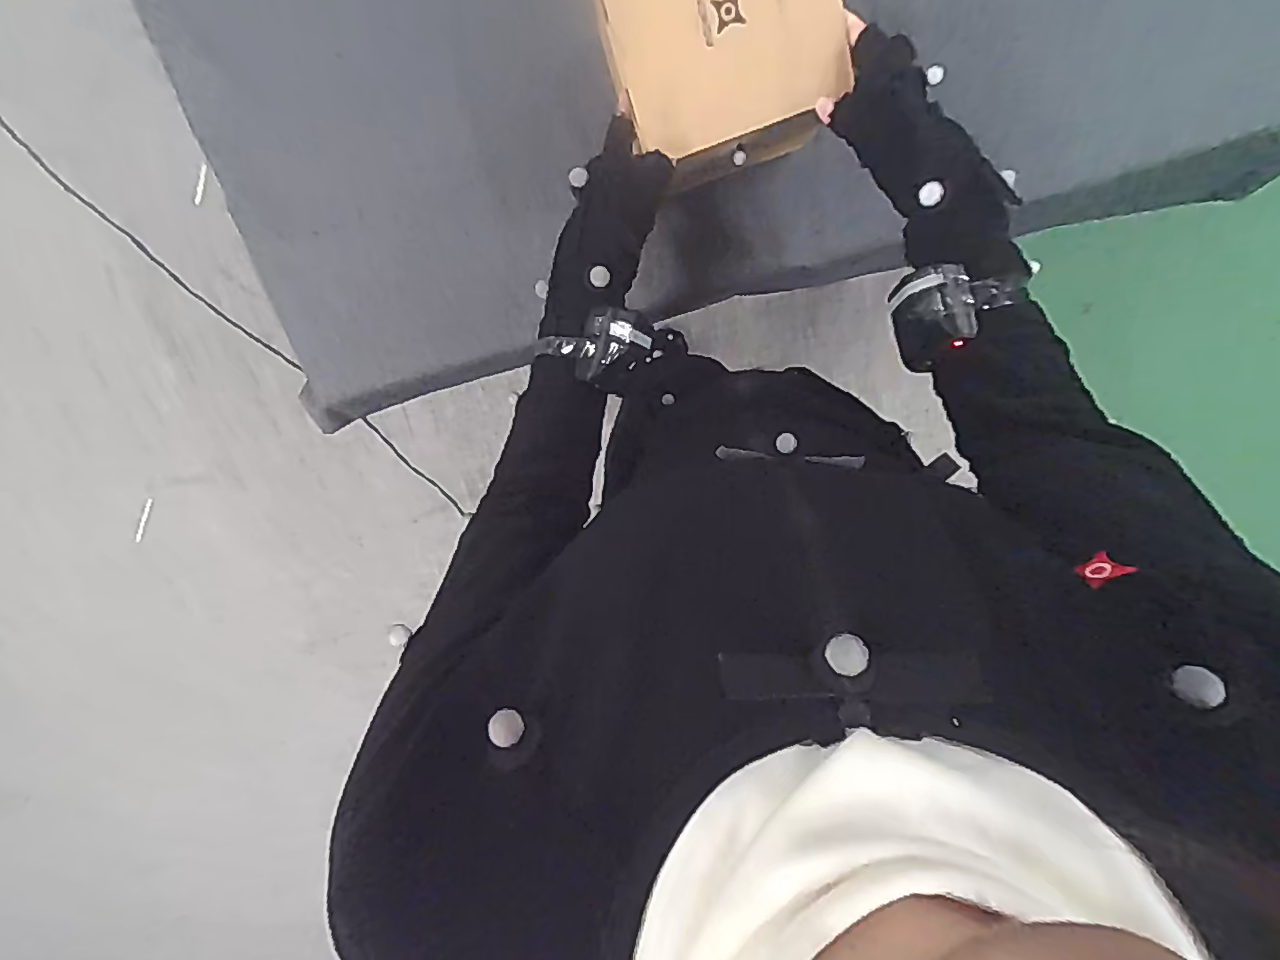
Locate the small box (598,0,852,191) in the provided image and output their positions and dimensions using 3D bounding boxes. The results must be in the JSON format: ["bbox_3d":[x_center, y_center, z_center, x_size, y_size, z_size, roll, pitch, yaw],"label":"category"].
[{"bbox_3d":[0.066,-0.391,0.498,0.179,0.176,0.168,-18,108,6],"label":"small box"}]
